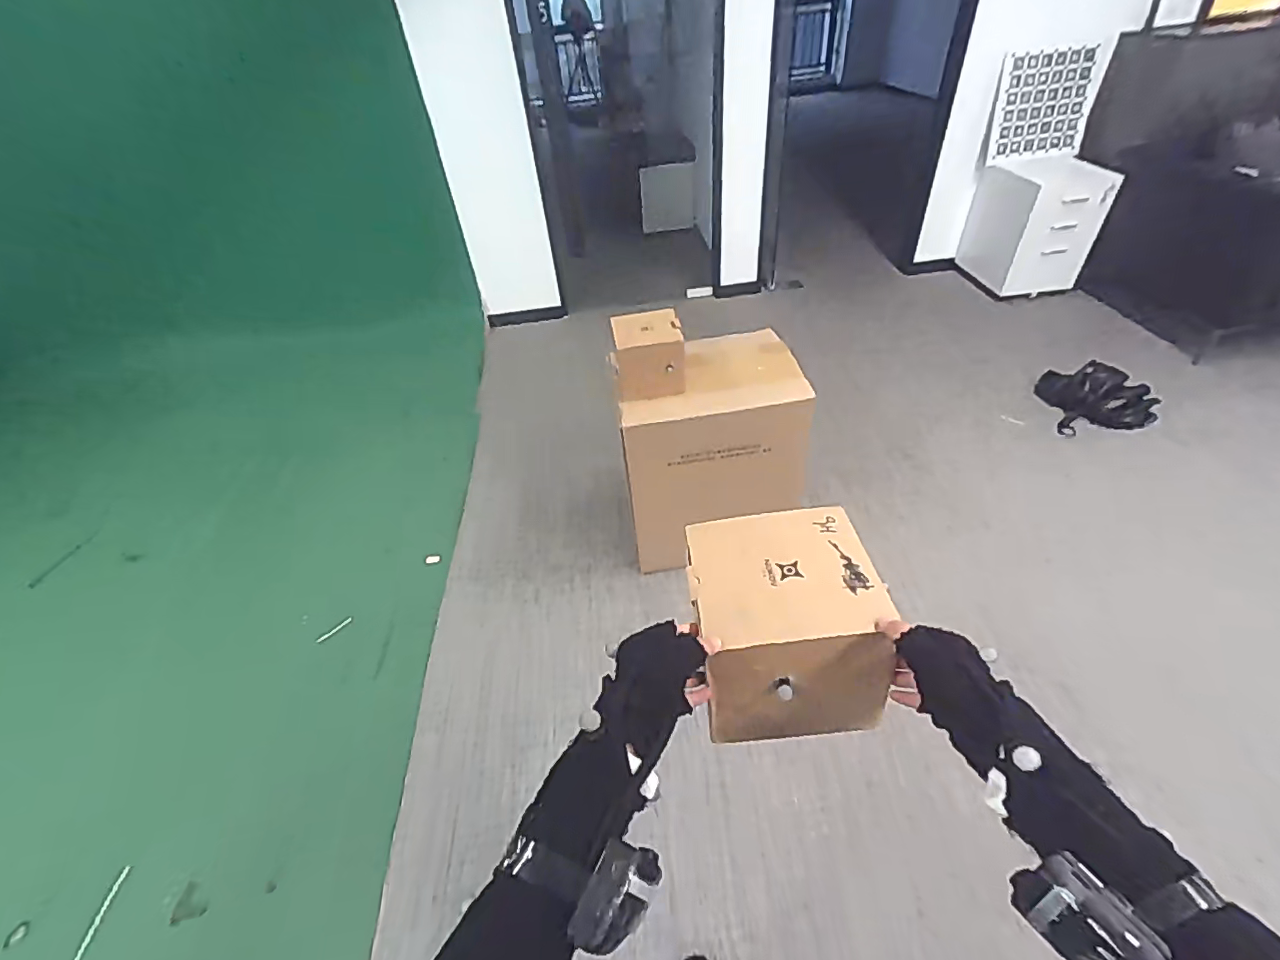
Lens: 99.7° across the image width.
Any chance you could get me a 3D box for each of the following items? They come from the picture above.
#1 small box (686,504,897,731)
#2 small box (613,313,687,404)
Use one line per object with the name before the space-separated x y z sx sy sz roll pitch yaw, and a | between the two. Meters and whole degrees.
small box | 0.151 0.150 0.586 0.179 0.176 0.168 -8 37 3
small box | 0.027 -0.331 1.484 0.179 0.176 0.168 -10 46 -3
